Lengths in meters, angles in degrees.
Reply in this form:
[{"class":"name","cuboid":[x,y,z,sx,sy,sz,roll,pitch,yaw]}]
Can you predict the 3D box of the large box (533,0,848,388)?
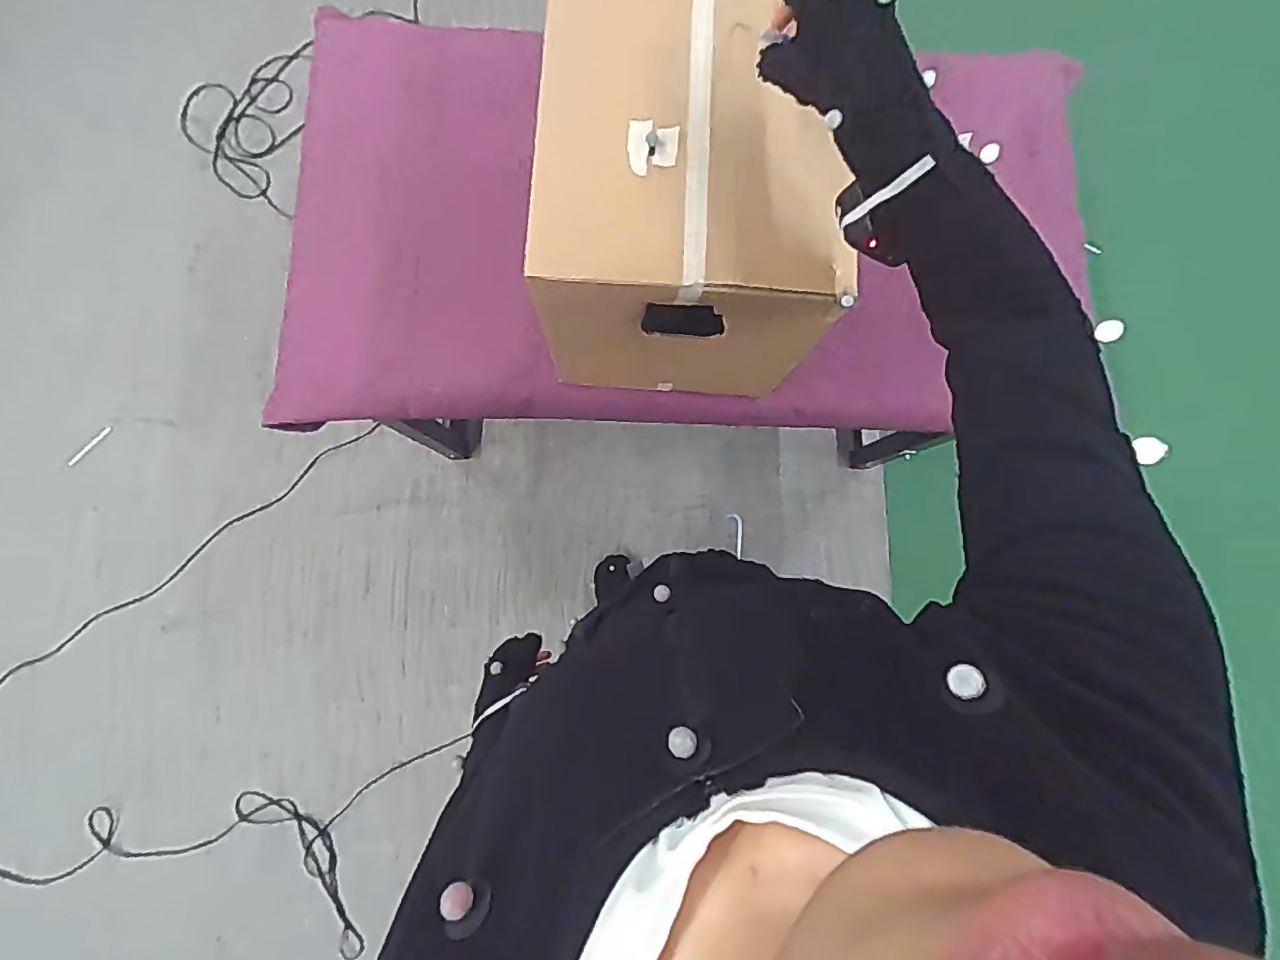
[{"class":"large box","cuboid":[0.049,-0.362,0.689,0.320,0.320,0.408,3,83,-2]}]
